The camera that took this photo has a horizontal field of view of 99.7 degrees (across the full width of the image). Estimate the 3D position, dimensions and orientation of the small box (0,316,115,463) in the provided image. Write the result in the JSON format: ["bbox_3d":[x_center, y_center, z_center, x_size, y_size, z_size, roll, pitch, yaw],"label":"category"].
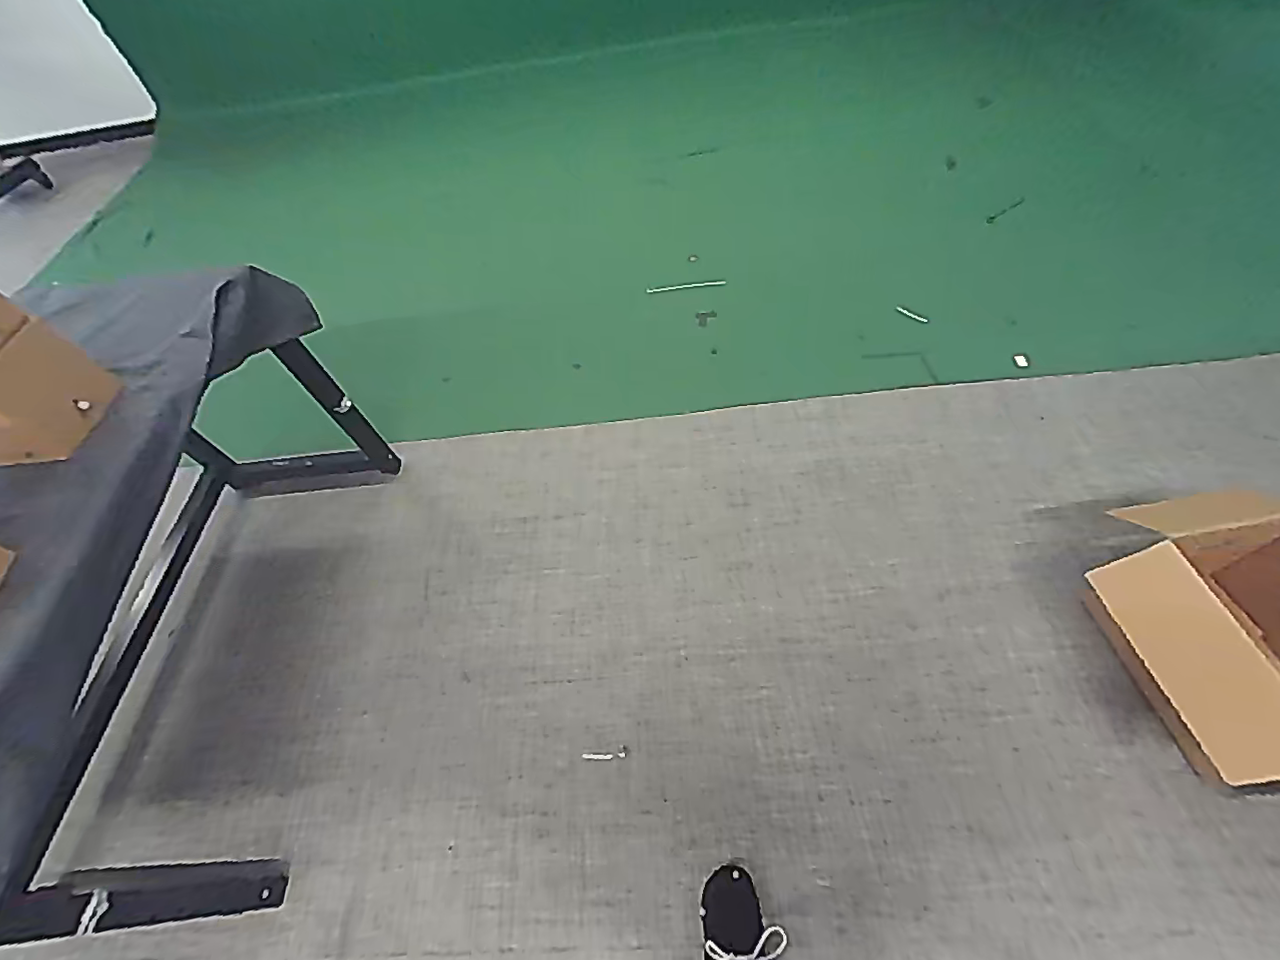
[{"bbox_3d":[-1.059,-0.149,0.910,0.168,0.176,0.179,-5,55,5],"label":"small box"}]
